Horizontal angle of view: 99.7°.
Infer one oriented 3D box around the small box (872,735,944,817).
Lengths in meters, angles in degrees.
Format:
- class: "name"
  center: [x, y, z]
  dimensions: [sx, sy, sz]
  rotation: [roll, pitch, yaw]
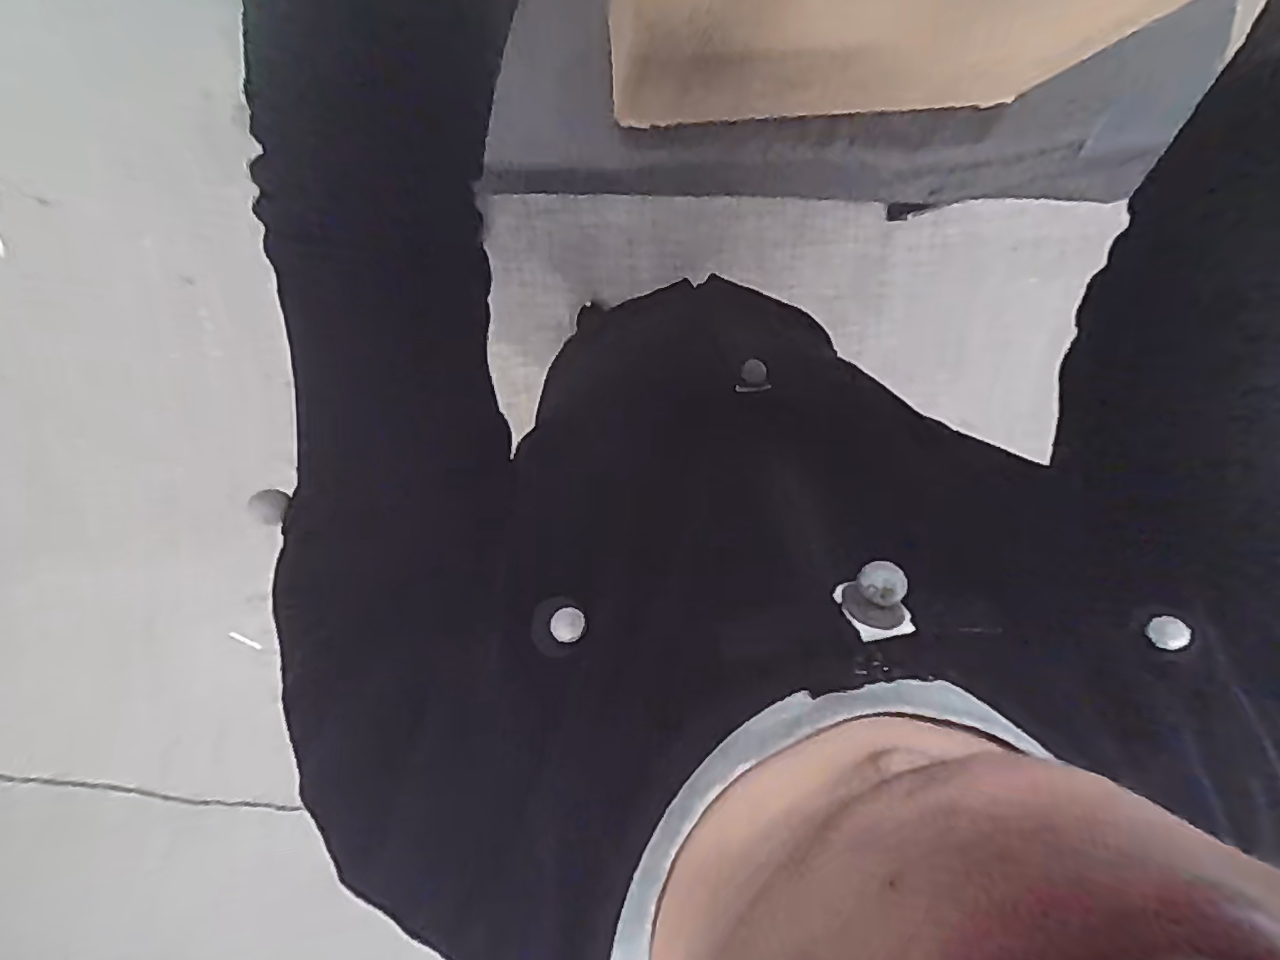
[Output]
- class: "small box"
  center: [0.937, 1.039, 1.907]
  dimensions: [0.168, 0.176, 0.179]
  rotation: [-8, 105, -6]
